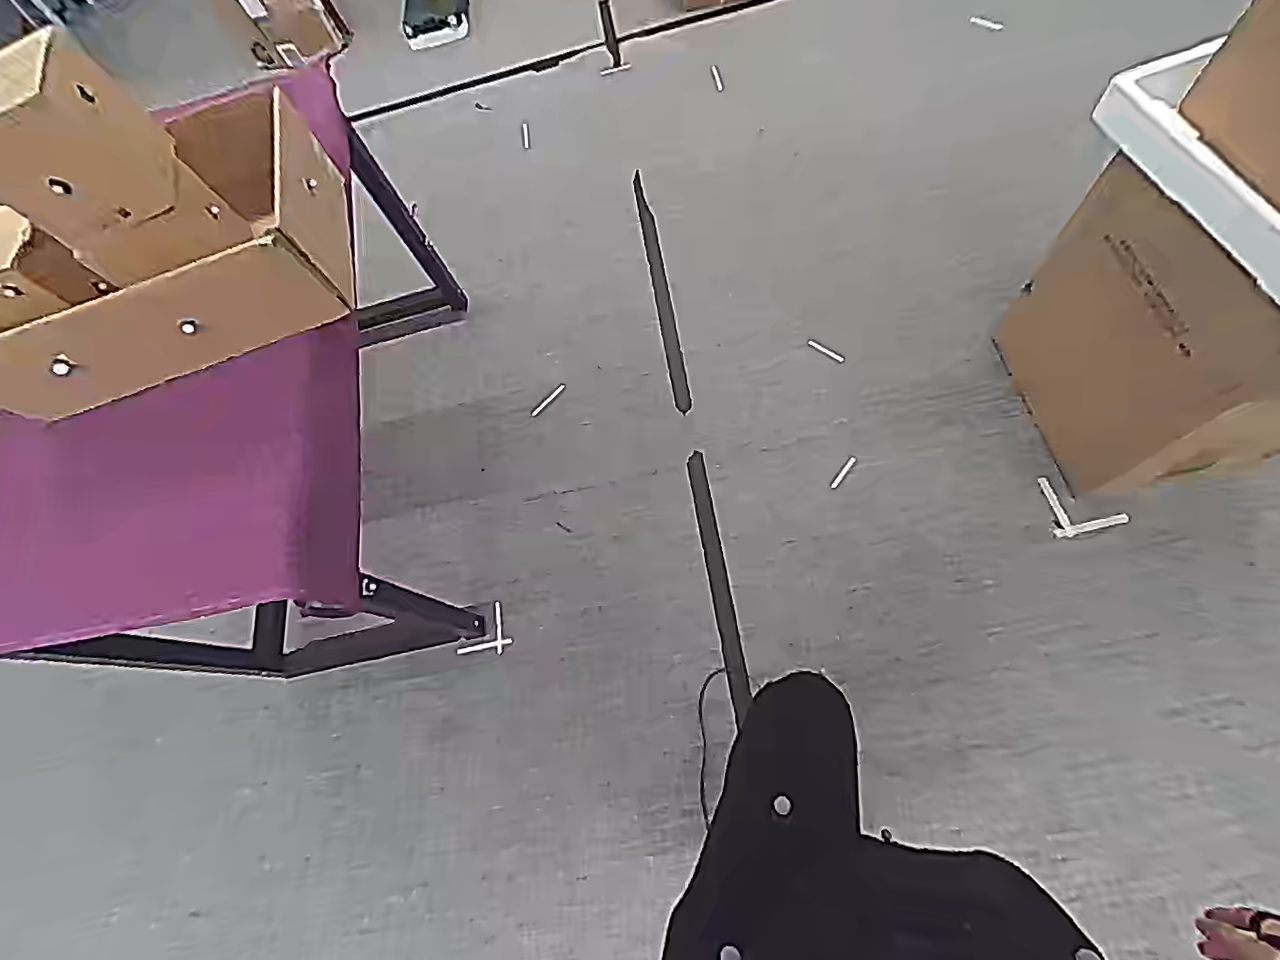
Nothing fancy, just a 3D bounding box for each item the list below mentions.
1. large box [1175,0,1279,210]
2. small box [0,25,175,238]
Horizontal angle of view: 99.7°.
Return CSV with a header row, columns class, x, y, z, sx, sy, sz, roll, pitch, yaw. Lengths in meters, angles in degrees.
class,x,y,z,sx,sy,sz,roll,pitch,yaw
large box,1.091,-0.565,0.718,0.320,0.320,0.408,-15,64,3
small box,-0.804,-0.473,0.760,0.168,0.176,0.179,-24,65,2
